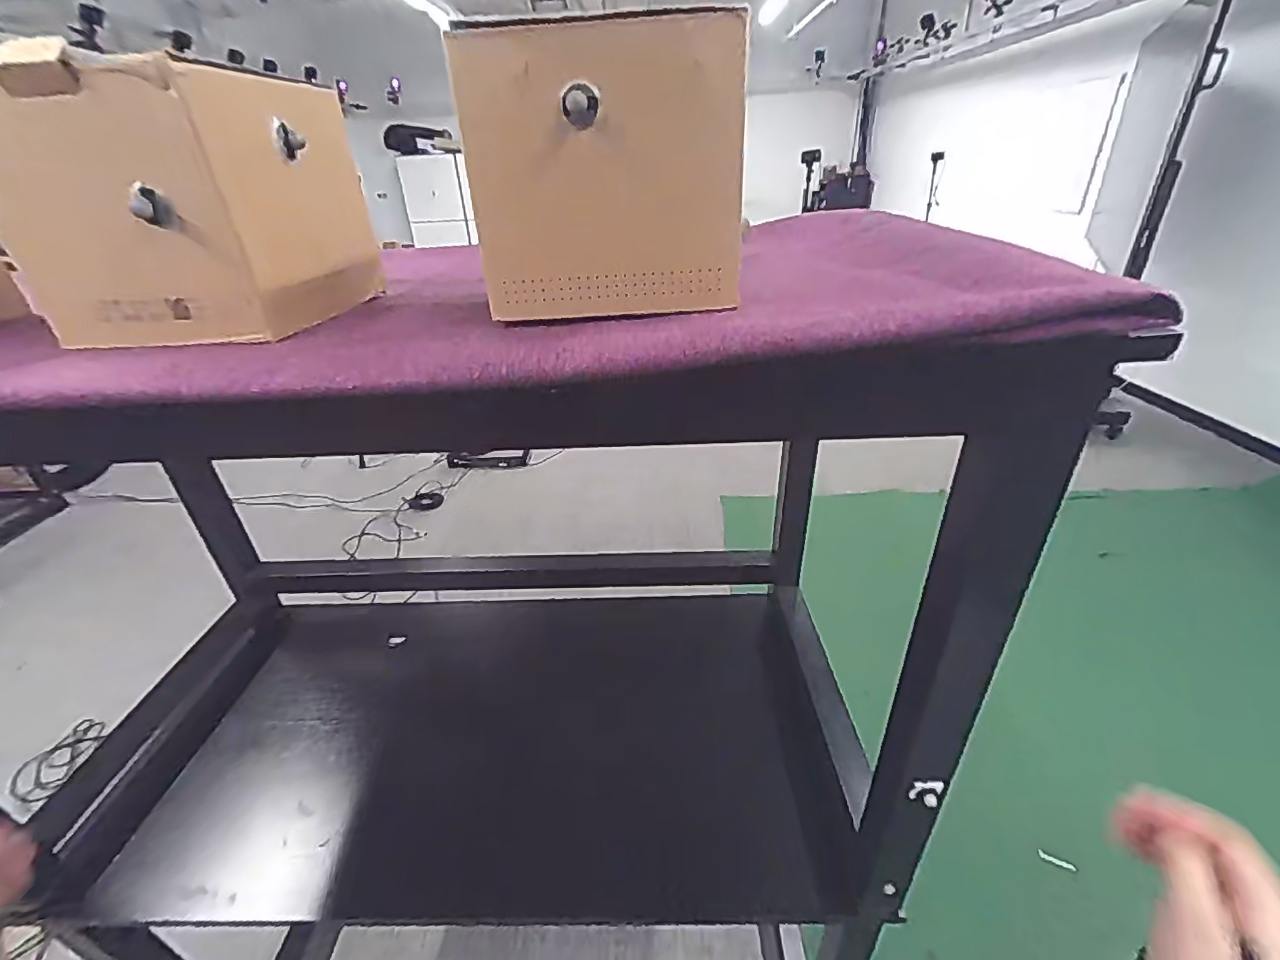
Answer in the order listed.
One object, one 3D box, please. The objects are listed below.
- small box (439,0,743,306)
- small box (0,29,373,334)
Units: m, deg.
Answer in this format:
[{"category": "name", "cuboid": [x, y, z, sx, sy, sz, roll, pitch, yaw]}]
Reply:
[{"category": "small box", "cuboid": [-0.021, -0.230, 0.405, 0.179, 0.176, 0.168, -2, 28, 2]}, {"category": "small box", "cuboid": [-0.333, -0.212, 0.410, 0.168, 0.176, 0.179, 0, 30, 3]}]
